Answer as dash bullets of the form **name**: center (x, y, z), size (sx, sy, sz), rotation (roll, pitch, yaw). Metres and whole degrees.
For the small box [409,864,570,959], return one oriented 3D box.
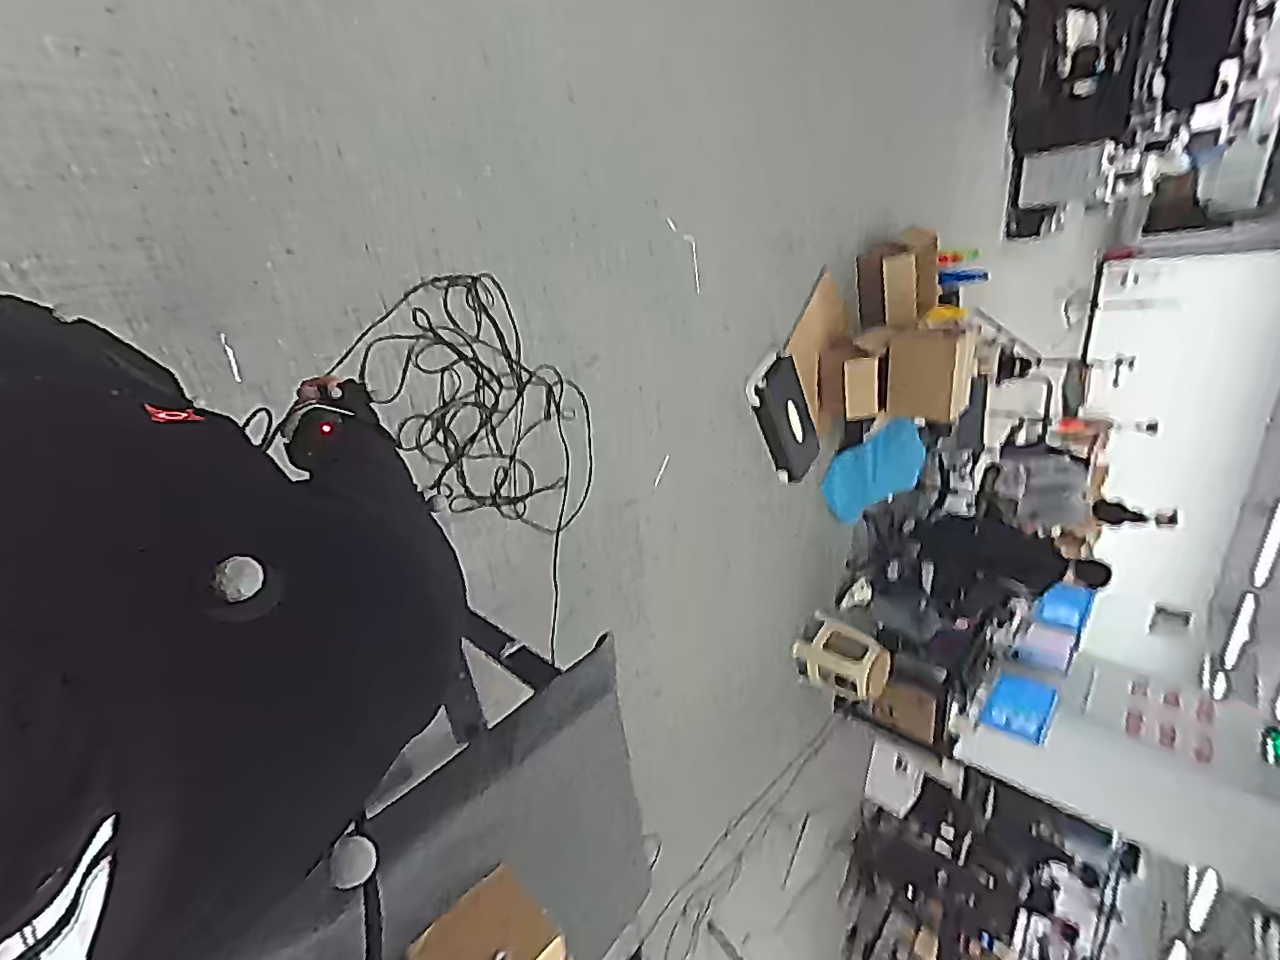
- **small box**: center (-0.224, 0.754, 0.832), size (0.179, 0.176, 0.168), rotation (-23, 116, -40)
